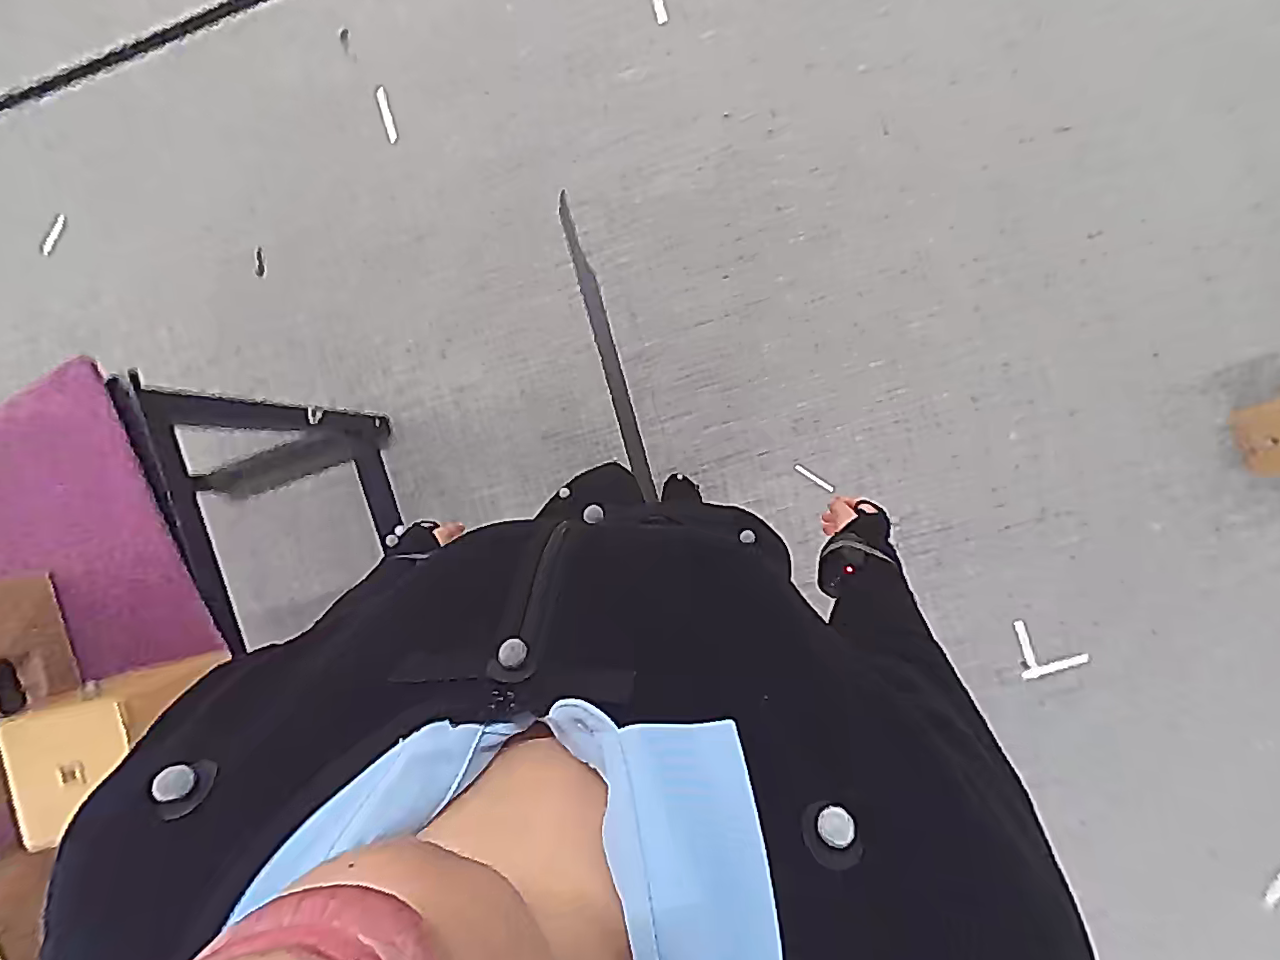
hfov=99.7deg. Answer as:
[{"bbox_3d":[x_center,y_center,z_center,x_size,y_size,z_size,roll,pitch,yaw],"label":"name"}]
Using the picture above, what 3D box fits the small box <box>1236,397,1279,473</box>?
[{"bbox_3d":[1.584,-0.117,1.276,0.179,0.176,0.168,-21,90,5],"label":"small box"}]
